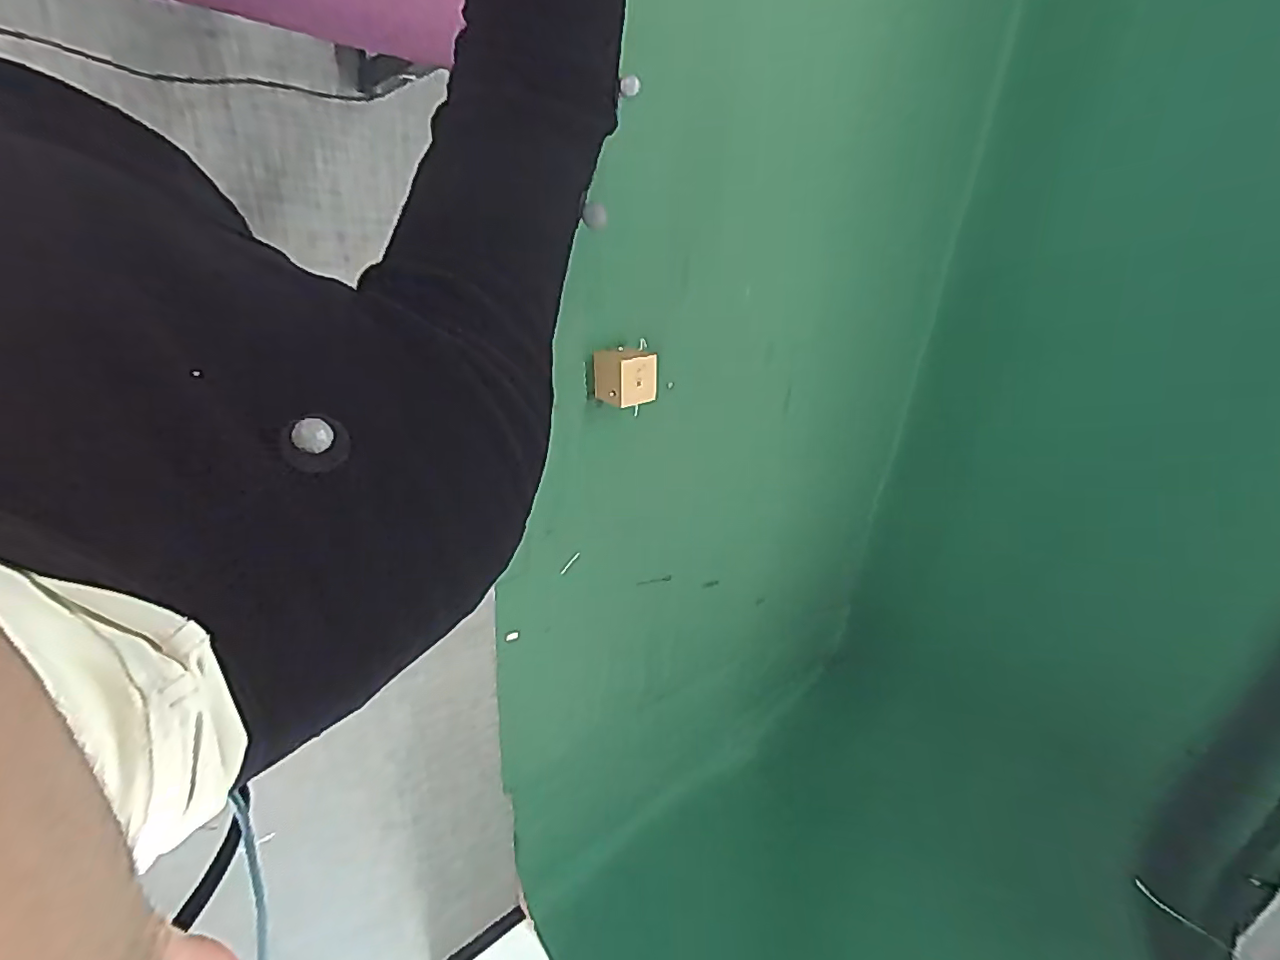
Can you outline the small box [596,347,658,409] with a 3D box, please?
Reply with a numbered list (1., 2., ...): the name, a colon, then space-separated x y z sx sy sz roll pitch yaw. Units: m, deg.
1. small box: -0.051 -0.381 1.997 0.168 0.176 0.179 -19 123 -35
